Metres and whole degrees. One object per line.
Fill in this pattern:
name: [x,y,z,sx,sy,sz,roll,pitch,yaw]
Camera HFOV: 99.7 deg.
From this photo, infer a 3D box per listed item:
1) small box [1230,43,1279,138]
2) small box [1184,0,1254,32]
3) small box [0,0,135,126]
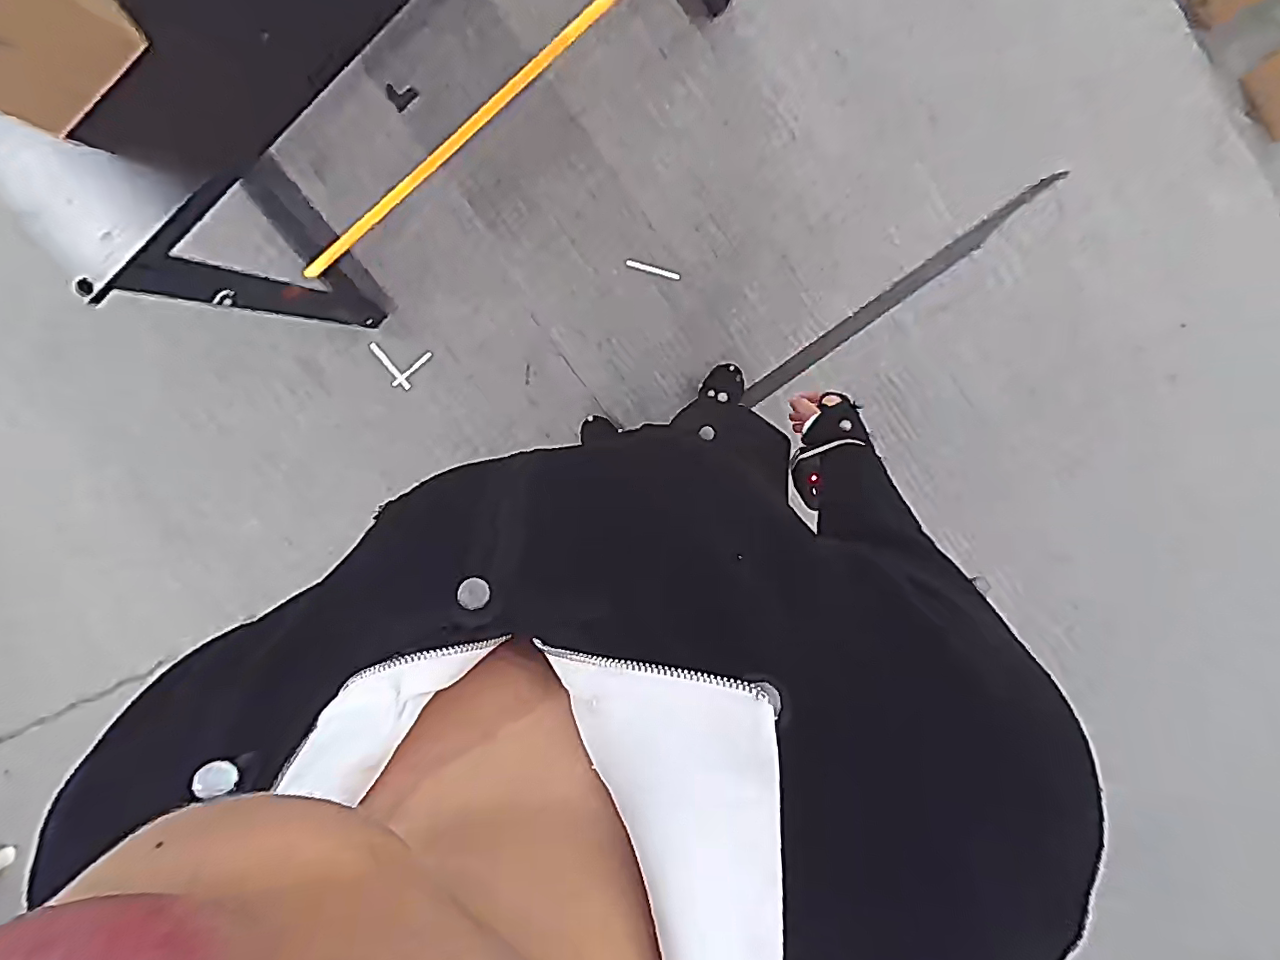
small box: [1.457,-0.875,1.157,0.168,0.176,0.179,-38,97,9]
small box: [1.279,-1.098,1.121,0.179,0.176,0.168,-35,97,10]
small box: [-0.740,-0.548,0.601,0.179,0.176,0.168,-36,97,8]
